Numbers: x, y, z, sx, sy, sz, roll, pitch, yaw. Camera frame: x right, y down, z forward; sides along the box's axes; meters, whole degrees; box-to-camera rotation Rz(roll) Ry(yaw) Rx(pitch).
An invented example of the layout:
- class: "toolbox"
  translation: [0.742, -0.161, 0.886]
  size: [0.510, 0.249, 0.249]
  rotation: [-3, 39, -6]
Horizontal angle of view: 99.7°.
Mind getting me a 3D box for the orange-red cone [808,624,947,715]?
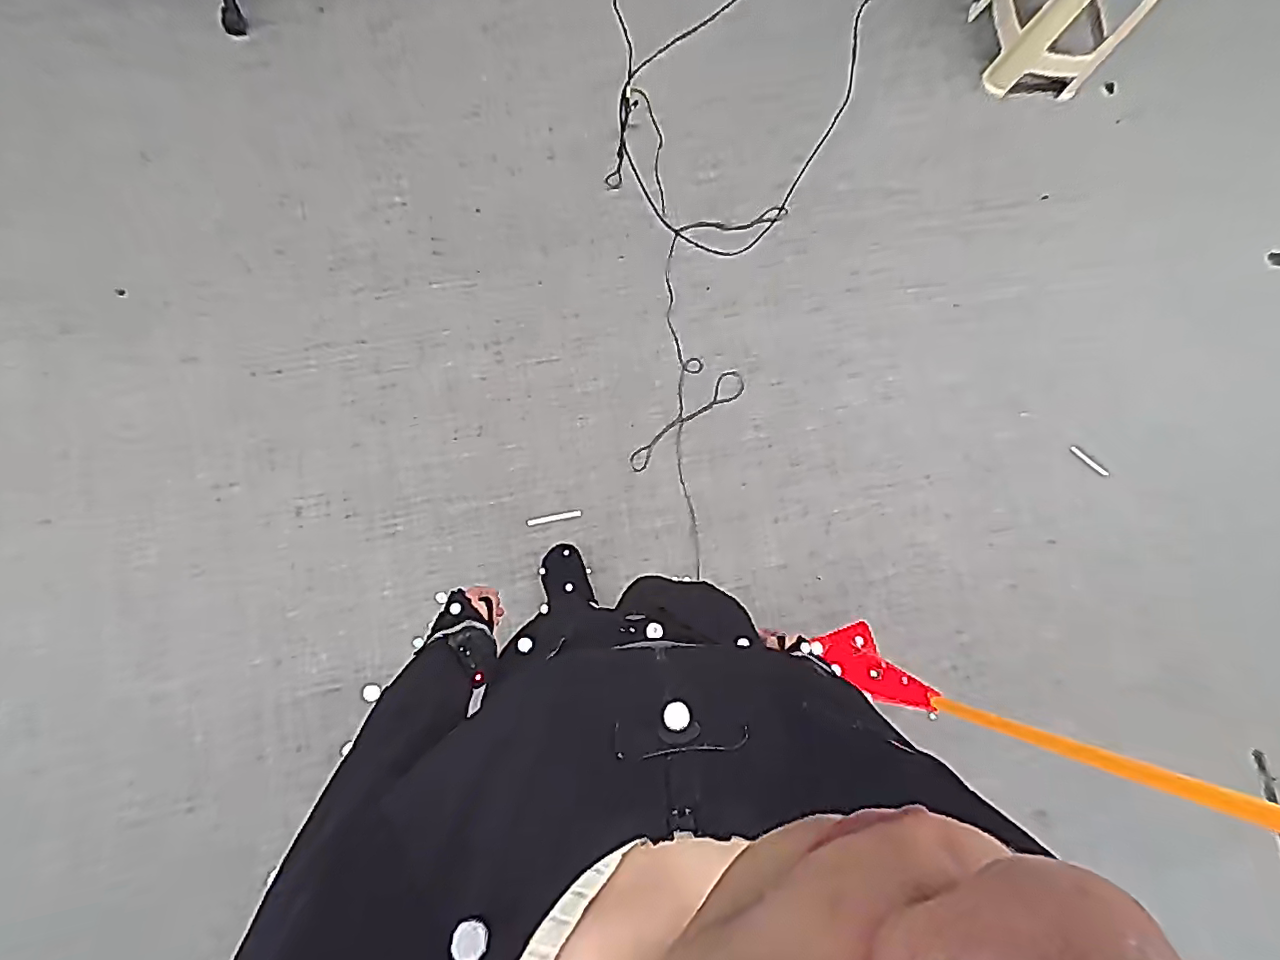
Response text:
- class: "orange-red cone"
  translation: [0.573, 0.468, 1.248]
  size: [0.199, 0.360, 0.198]
  rotation: [-16, 83, -9]
